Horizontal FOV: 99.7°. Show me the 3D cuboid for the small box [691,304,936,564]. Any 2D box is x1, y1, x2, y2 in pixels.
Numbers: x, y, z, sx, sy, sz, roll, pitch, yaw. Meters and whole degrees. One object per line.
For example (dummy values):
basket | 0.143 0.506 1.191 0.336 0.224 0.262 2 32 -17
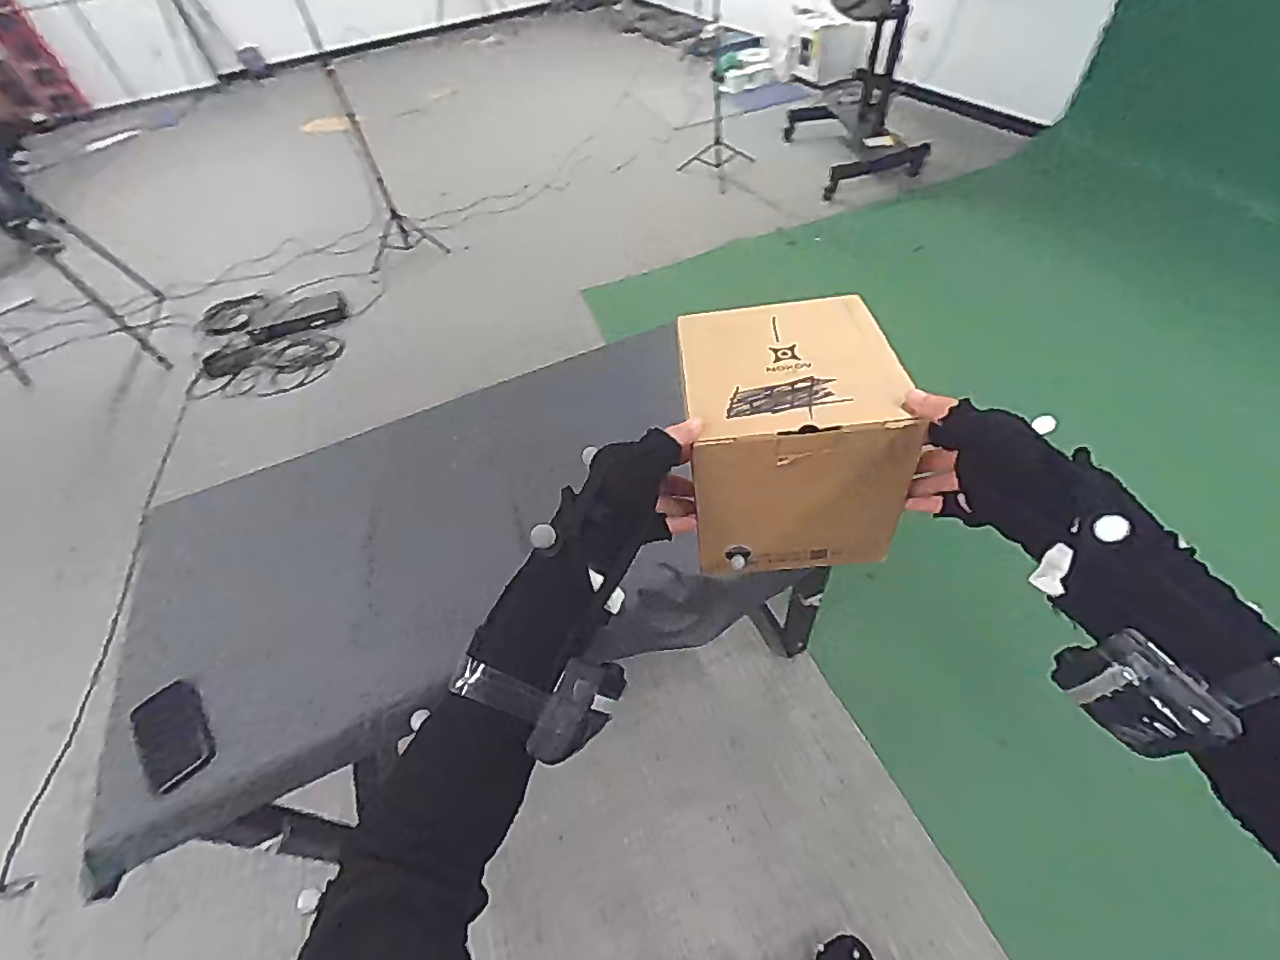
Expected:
small box | 0.137 -0.035 0.495 0.168 0.176 0.179 -4 44 5
